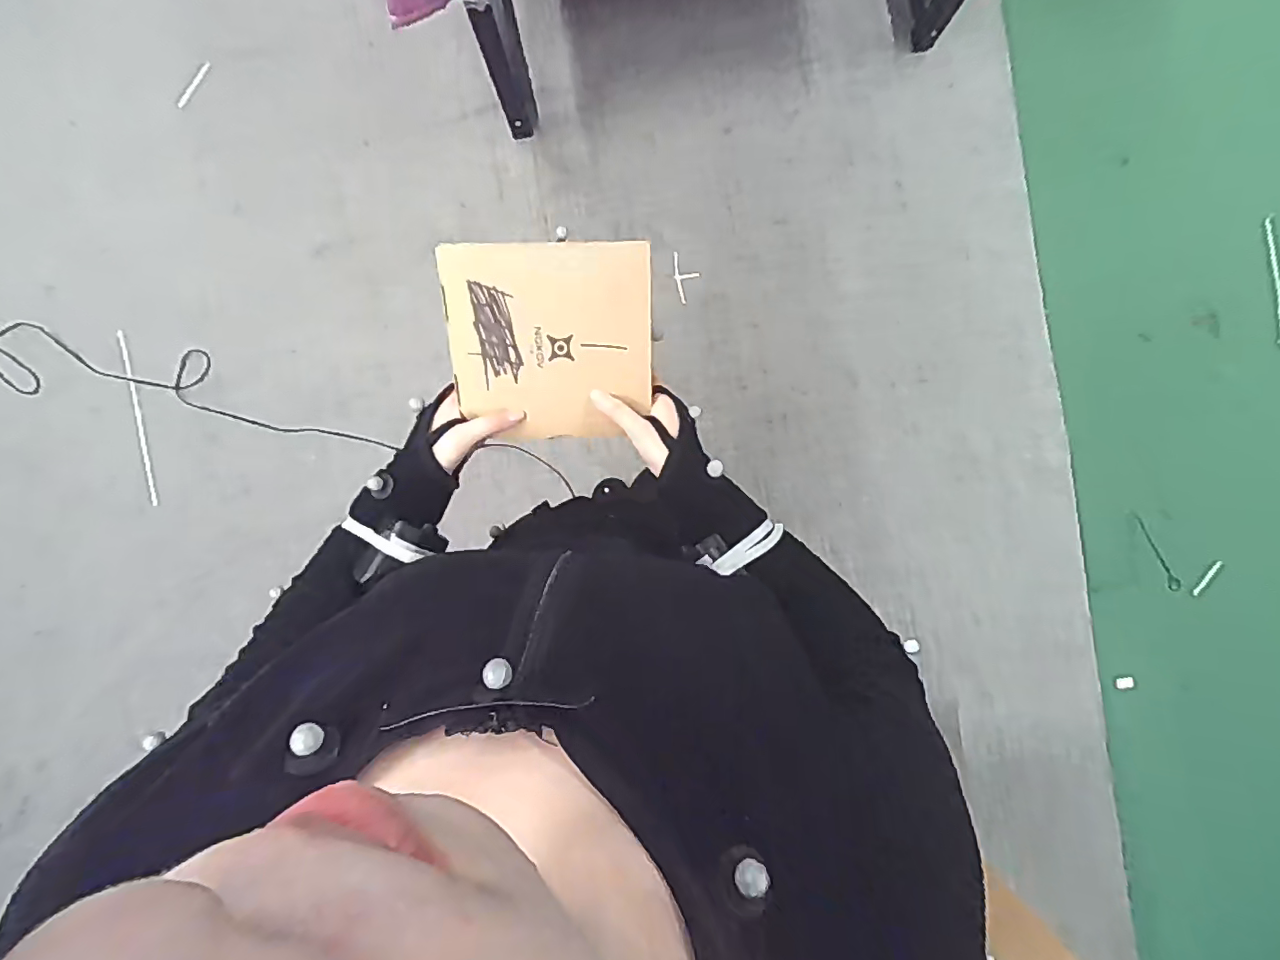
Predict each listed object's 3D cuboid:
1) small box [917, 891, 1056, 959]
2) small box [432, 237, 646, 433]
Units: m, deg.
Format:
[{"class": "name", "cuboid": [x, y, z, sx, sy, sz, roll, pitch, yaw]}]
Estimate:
[{"class": "small box", "cuboid": [0.640, 0.897, 0.986, 0.179, 0.176, 0.168, -10, 95, 0]}, {"class": "small box", "cuboid": [-0.084, -0.149, 0.541, 0.179, 0.176, 0.168, -1, 113, -2]}]
